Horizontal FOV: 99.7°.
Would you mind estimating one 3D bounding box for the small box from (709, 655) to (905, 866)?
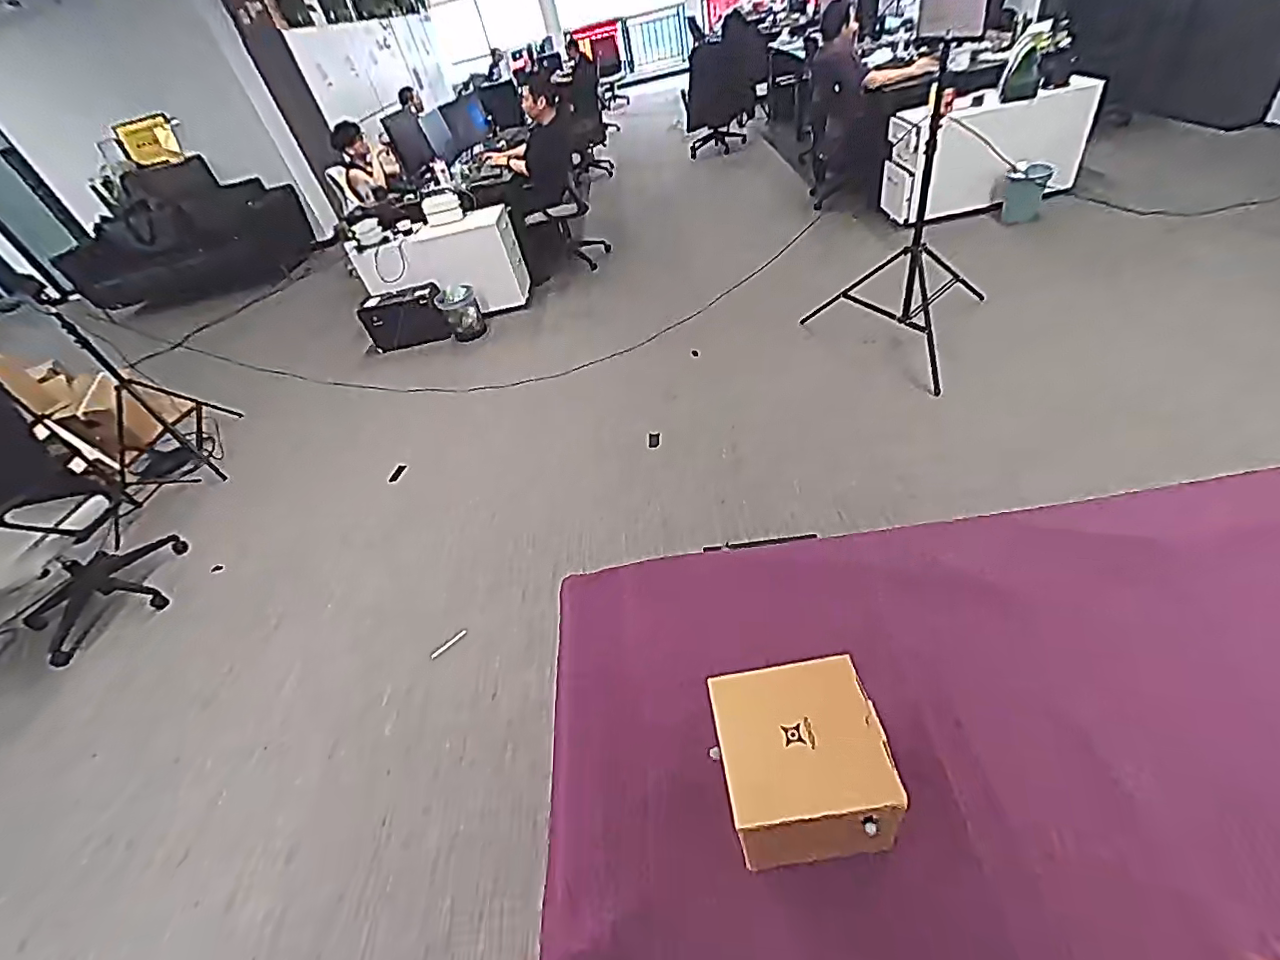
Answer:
[{"bbox_3d":[0.191,0.342,0.654,0.179,0.176,0.168,-11,41,3],"label":"small box"}]
